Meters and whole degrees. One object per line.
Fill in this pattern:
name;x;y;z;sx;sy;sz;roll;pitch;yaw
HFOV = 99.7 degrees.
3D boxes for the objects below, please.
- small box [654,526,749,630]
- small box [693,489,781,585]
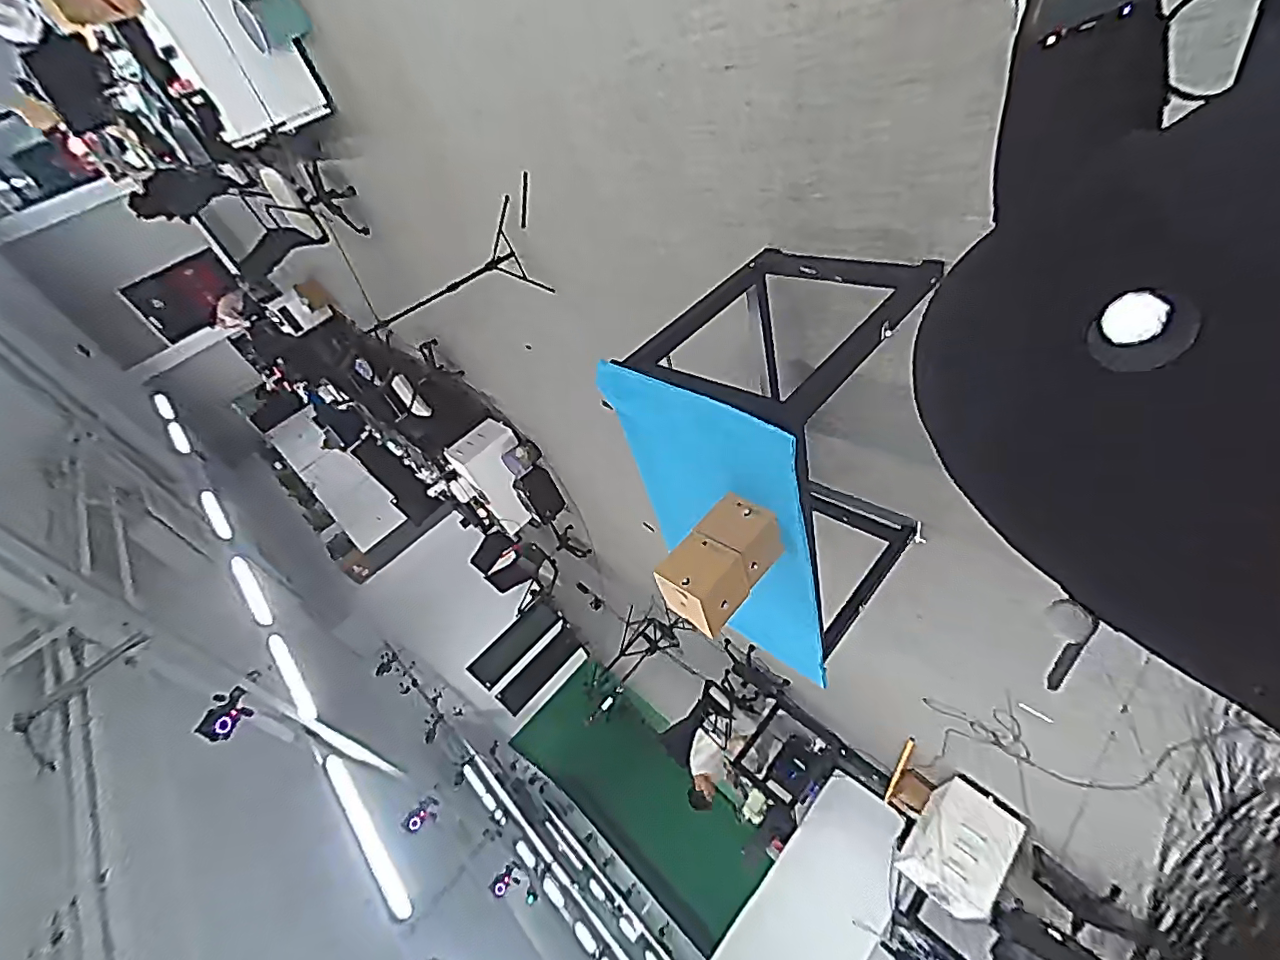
small box;0.172;0.258;1.450;0.168;0.176;0.179;25;148;44
small box;0.279;0.159;1.521;0.168;0.176;0.179;27;150;40
